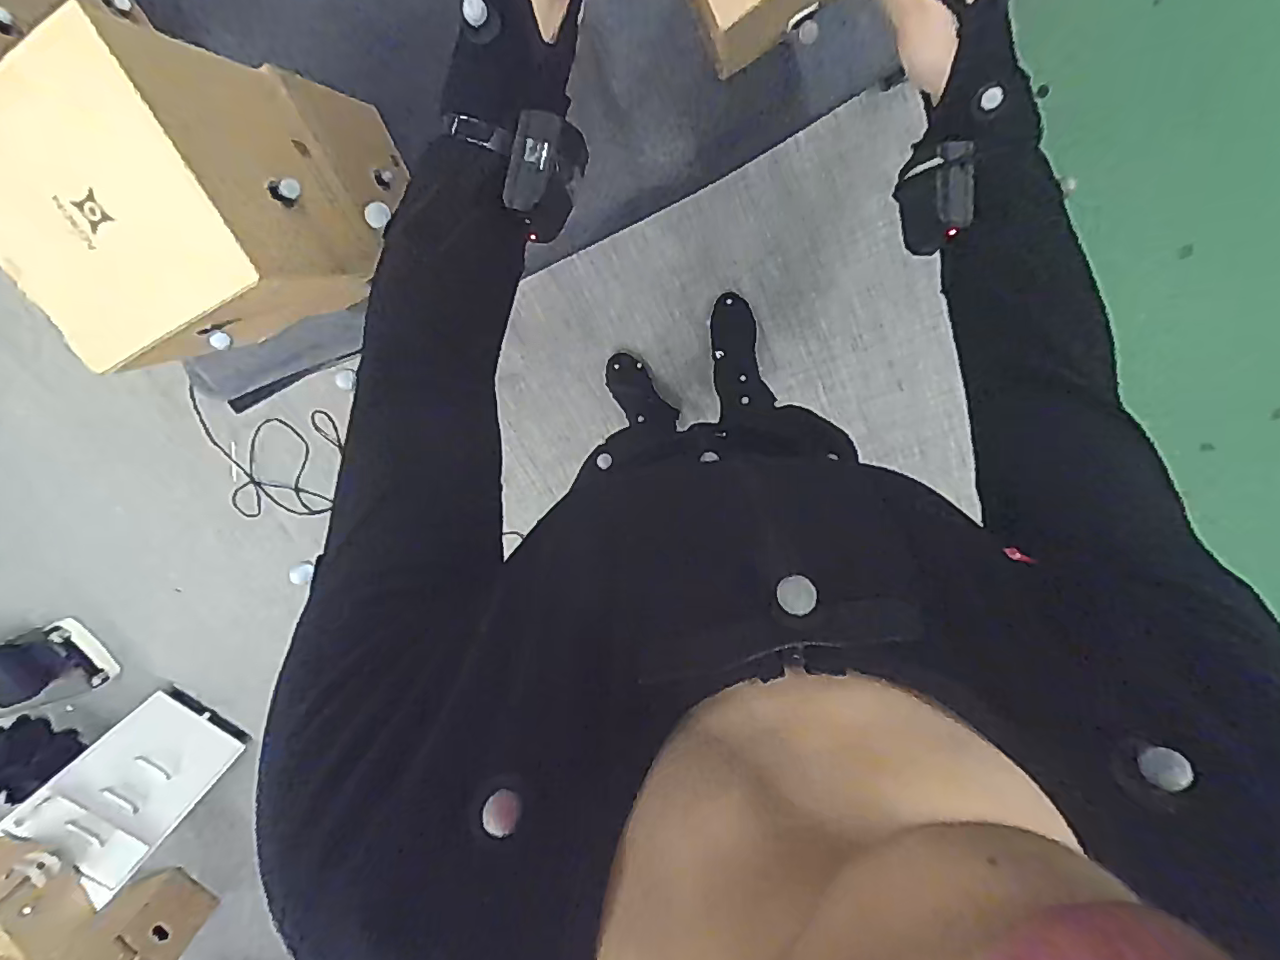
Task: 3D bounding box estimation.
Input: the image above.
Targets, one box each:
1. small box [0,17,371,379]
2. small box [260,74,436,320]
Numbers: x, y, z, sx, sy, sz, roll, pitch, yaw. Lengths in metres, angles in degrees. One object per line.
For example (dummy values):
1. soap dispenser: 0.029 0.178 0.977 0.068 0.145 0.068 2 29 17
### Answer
1. small box: -0.351 -0.206 0.431 0.179 0.176 0.168 -20 111 16
2. small box: -0.346 -0.281 0.575 0.179 0.176 0.168 -19 110 15
